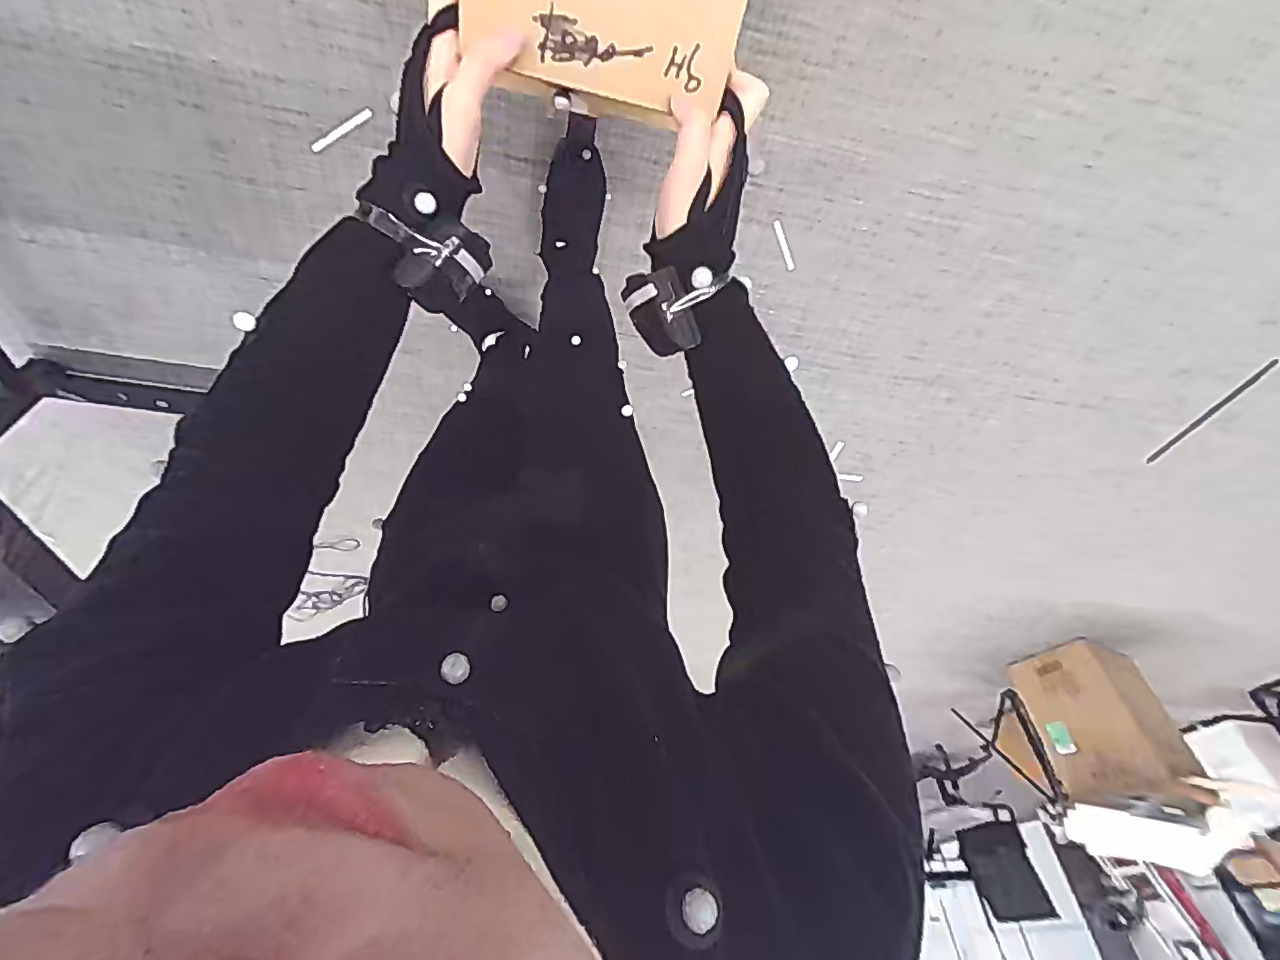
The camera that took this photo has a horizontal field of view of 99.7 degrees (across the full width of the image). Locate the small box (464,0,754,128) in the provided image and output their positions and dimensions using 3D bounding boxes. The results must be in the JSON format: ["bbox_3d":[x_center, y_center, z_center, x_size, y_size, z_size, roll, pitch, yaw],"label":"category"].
[{"bbox_3d":[-0.018,-0.359,0.353,0.168,0.176,0.179,6,126,-15],"label":"small box"}]

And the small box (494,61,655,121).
[{"bbox_3d":[-0.040,-0.492,0.522,0.168,0.176,0.179,11,137,-13],"label":"small box"}]

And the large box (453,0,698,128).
[{"bbox_3d":[-0.037,-0.715,0.641,0.320,0.320,0.408,7,137,-11],"label":"large box"}]
